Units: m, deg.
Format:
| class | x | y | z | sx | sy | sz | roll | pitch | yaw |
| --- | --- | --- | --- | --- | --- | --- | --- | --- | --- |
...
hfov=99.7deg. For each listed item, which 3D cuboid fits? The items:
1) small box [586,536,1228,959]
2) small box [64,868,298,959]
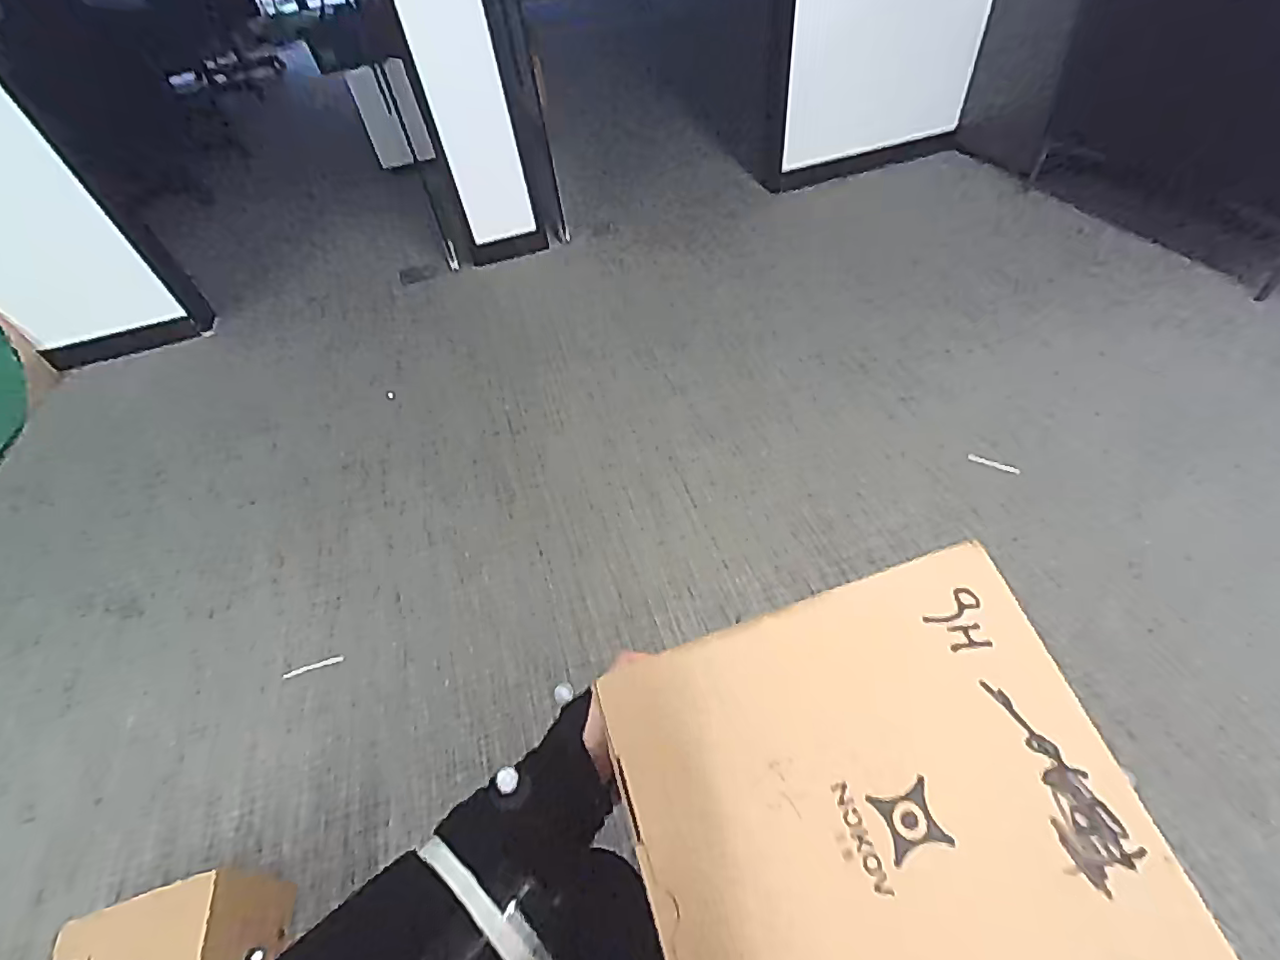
| class | x | y | z | sx | sy | sz | roll | pitch | yaw |
| --- | --- | --- | --- | --- | --- | --- | --- | --- | --- |
| small box | 0.091 | 0.152 | 0.269 | 0.179 | 0.176 | 0.168 | -20 | 67 | -2 |
| small box | -0.555 | 0.606 | 0.659 | 0.179 | 0.176 | 0.168 | -17 | 48 | -7 |
